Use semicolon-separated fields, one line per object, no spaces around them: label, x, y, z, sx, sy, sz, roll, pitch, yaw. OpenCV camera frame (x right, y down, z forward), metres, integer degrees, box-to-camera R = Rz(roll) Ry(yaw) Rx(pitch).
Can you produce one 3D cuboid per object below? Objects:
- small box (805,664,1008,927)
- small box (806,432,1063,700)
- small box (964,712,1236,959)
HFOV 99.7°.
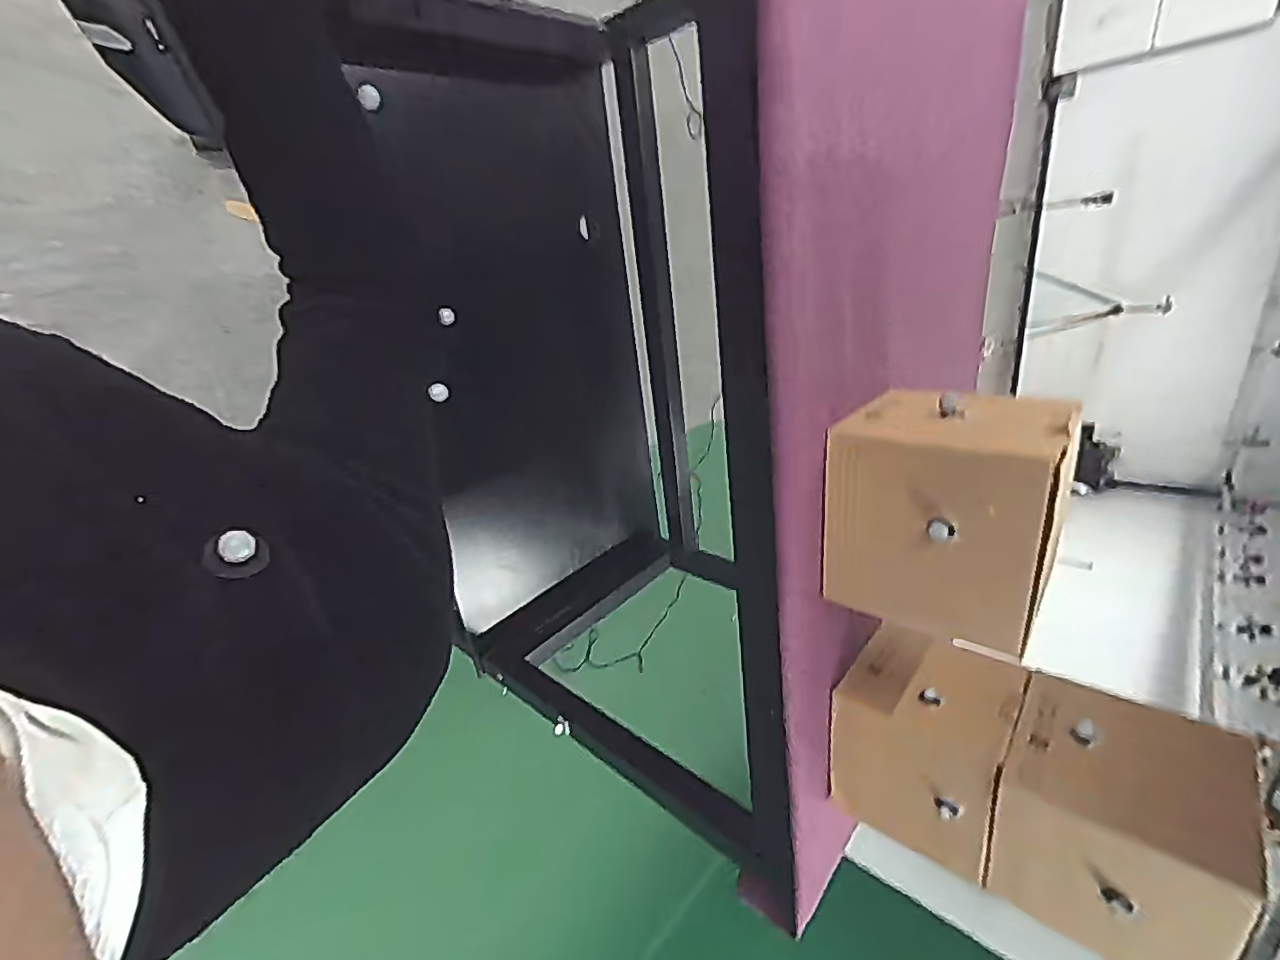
small box;0.304;0.338;0.626;0.168;0.176;0.179;-23;117;-44
small box;0.266;0.057;0.502;0.168;0.176;0.179;-25;118;-43
small box;0.425;0.365;0.520;0.168;0.176;0.179;-31;120;-41
